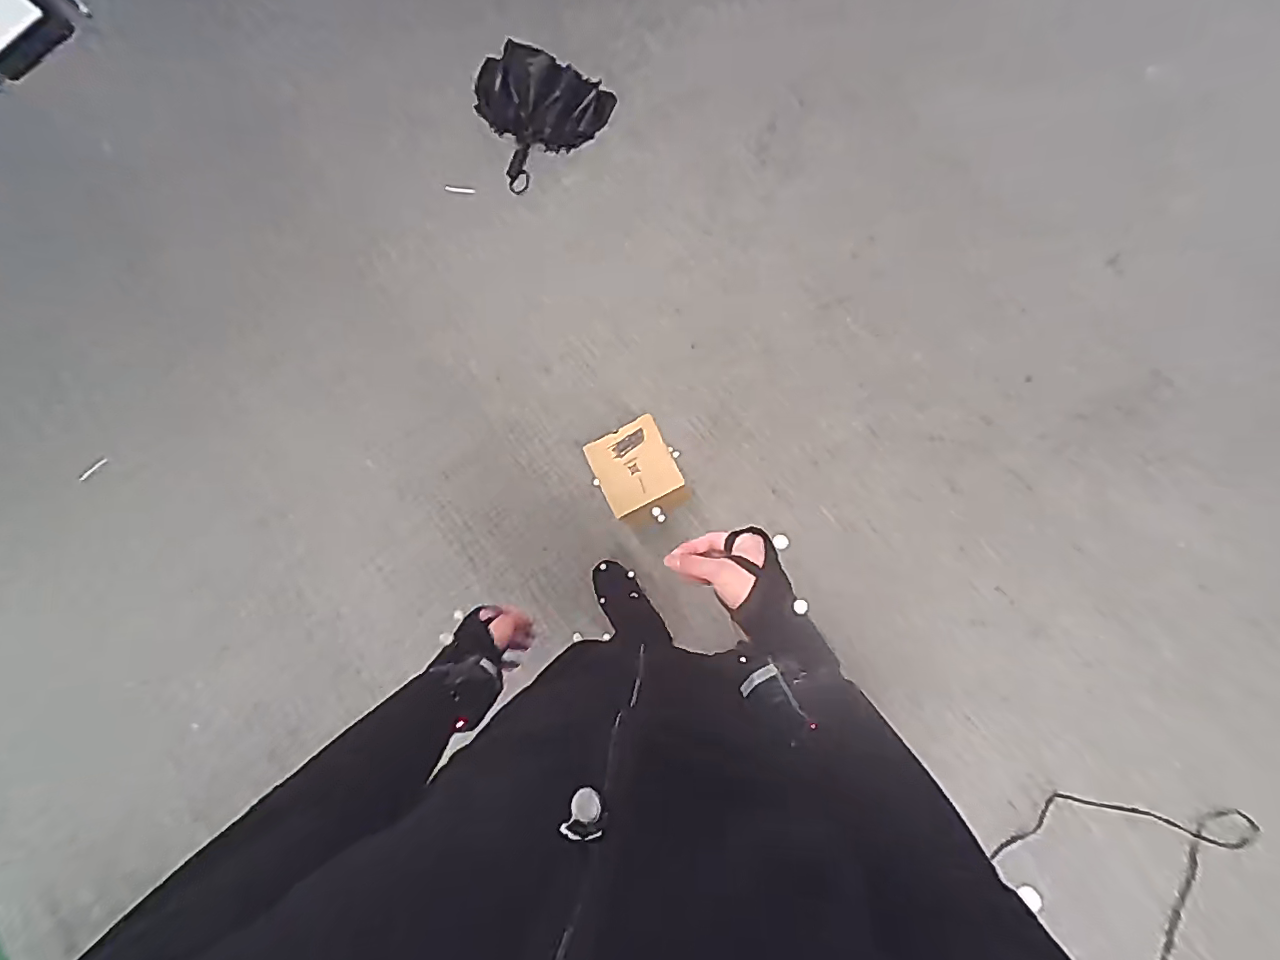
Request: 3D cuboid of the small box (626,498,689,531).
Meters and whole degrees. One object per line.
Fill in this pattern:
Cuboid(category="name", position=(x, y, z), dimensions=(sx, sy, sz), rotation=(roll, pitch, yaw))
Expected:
Cuboid(category="small box", position=(0.014, 0.021, 1.388), dimensions=(0.168, 0.176, 0.179), rotation=(-28, 81, 3))

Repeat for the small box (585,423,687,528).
Cuboid(category="small box", position=(-0.004, -0.003, 1.226), dimensions=(0.168, 0.176, 0.179), rotation=(-27, 80, 3))
